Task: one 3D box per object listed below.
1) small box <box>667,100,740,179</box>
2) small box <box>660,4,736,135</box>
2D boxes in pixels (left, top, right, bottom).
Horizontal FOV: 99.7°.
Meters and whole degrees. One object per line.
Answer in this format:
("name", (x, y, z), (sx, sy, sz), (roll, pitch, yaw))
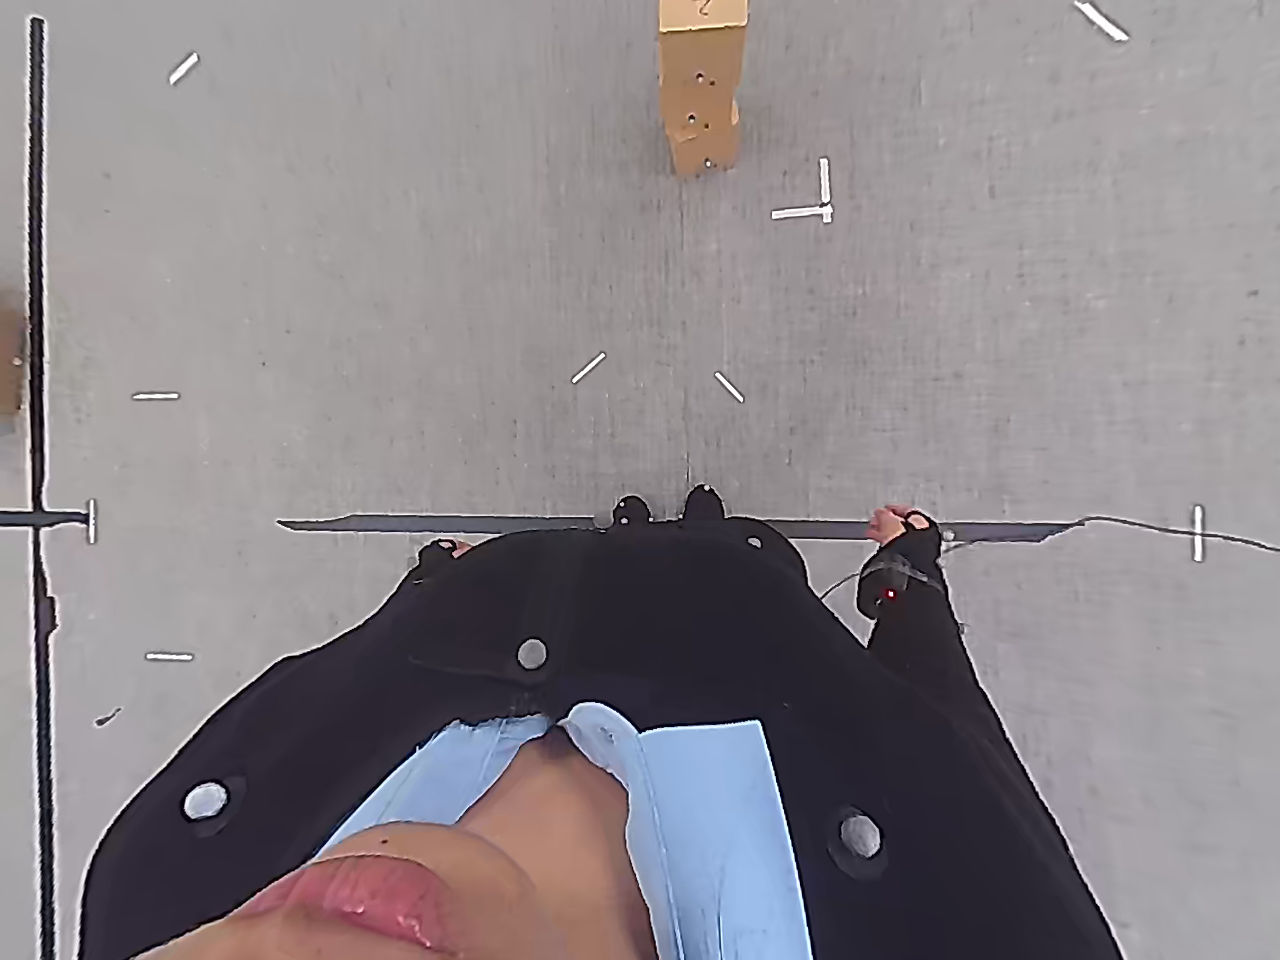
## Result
("small box", (0.157, -0.932, 1.411), (0.168, 0.176, 0.179), (-13, 88, 6))
("small box", (0.133, -0.940, 1.250), (0.168, 0.176, 0.179), (0, 90, 6))
